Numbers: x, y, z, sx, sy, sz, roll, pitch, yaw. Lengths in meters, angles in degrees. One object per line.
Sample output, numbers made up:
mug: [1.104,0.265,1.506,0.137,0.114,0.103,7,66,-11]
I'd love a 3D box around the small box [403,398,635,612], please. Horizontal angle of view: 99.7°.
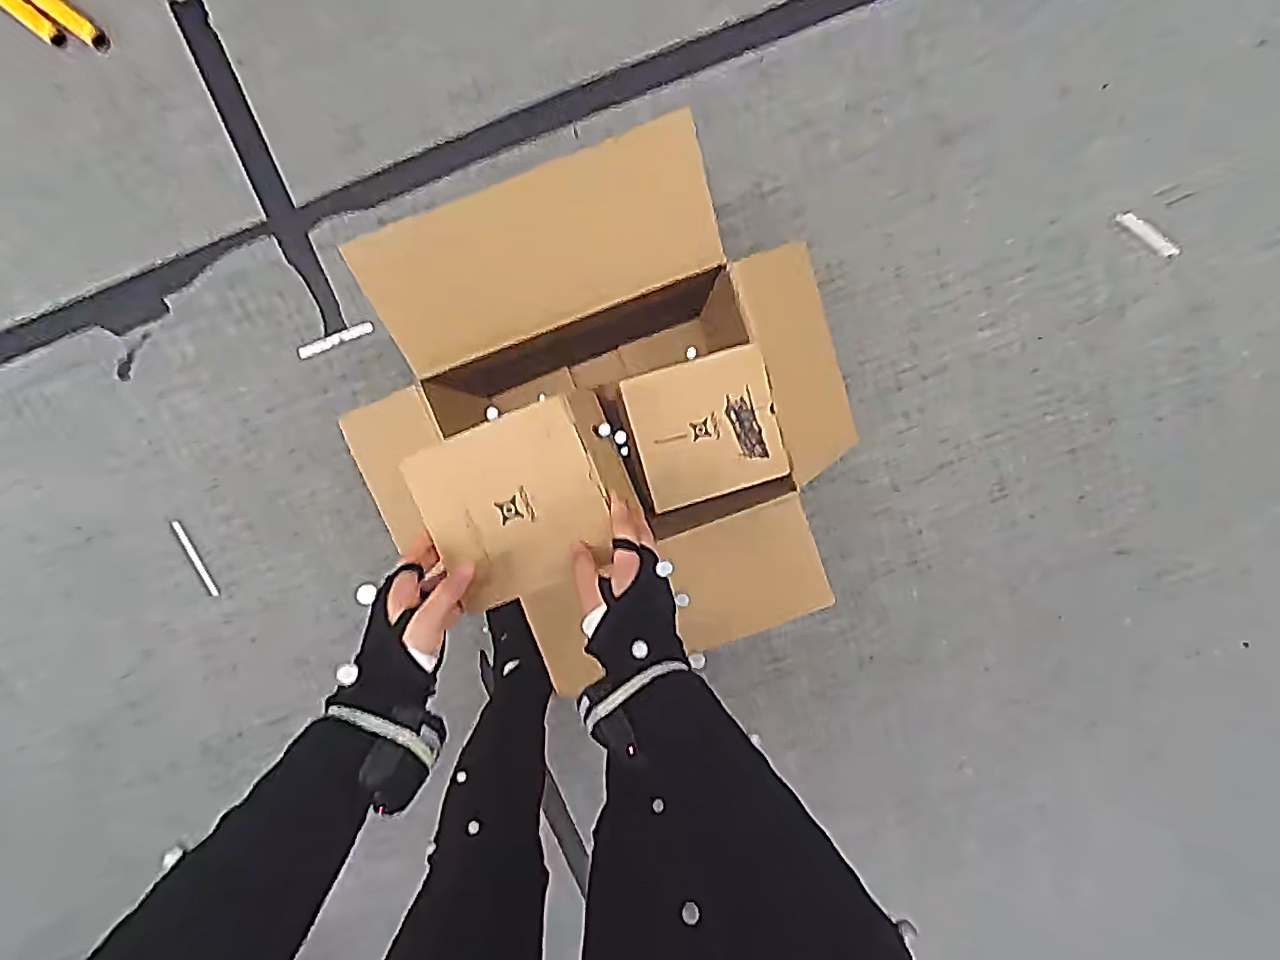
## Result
small box: [-0.112,0.014,0.592,0.179,0.176,0.168,-22,96,9]
